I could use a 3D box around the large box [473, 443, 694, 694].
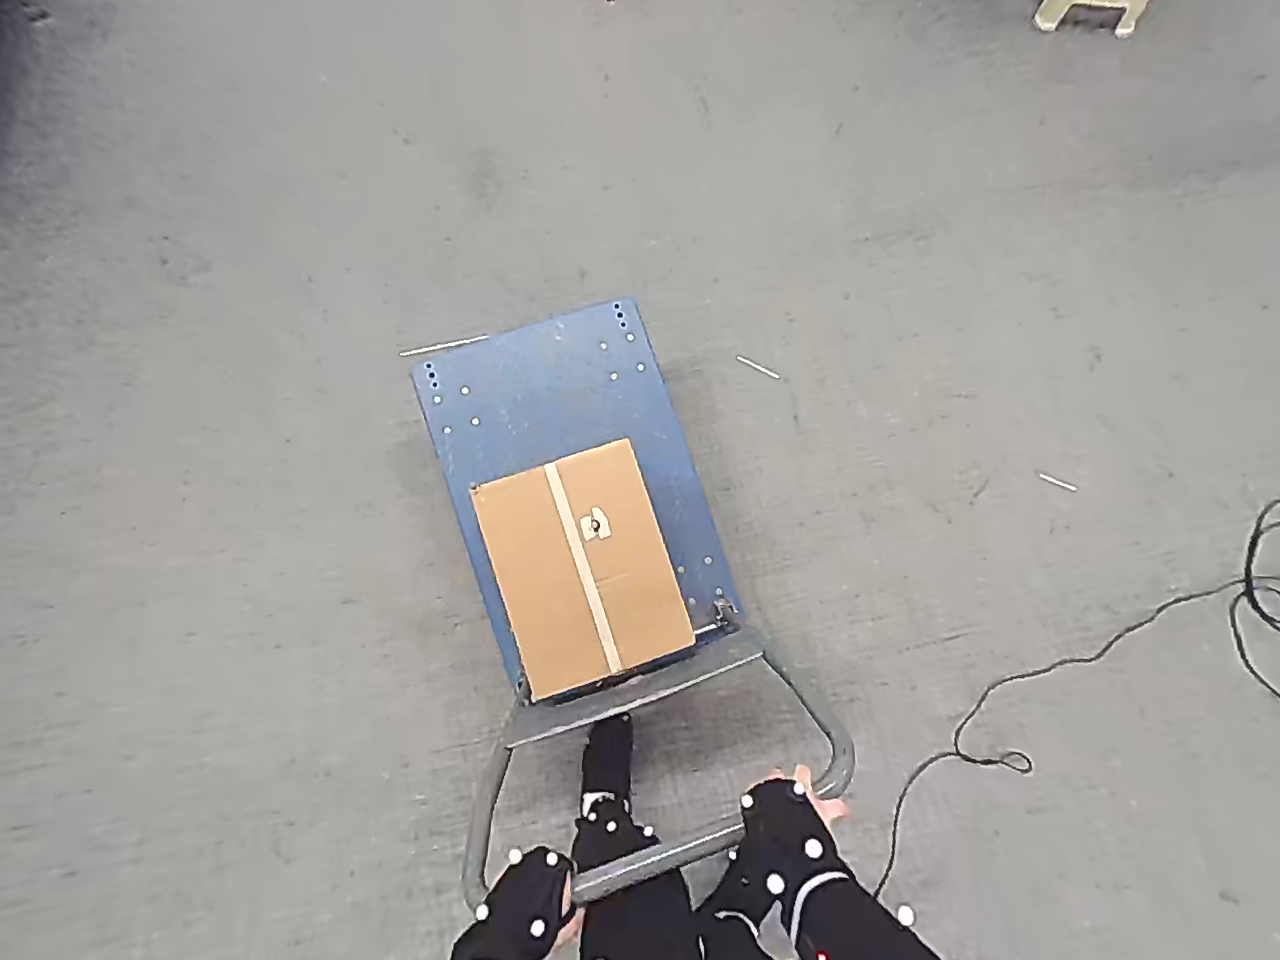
[{"bbox_3d":[-0.111,0.176,1.164,0.320,0.320,0.408,-19,86,-4],"label":"large box"}]
